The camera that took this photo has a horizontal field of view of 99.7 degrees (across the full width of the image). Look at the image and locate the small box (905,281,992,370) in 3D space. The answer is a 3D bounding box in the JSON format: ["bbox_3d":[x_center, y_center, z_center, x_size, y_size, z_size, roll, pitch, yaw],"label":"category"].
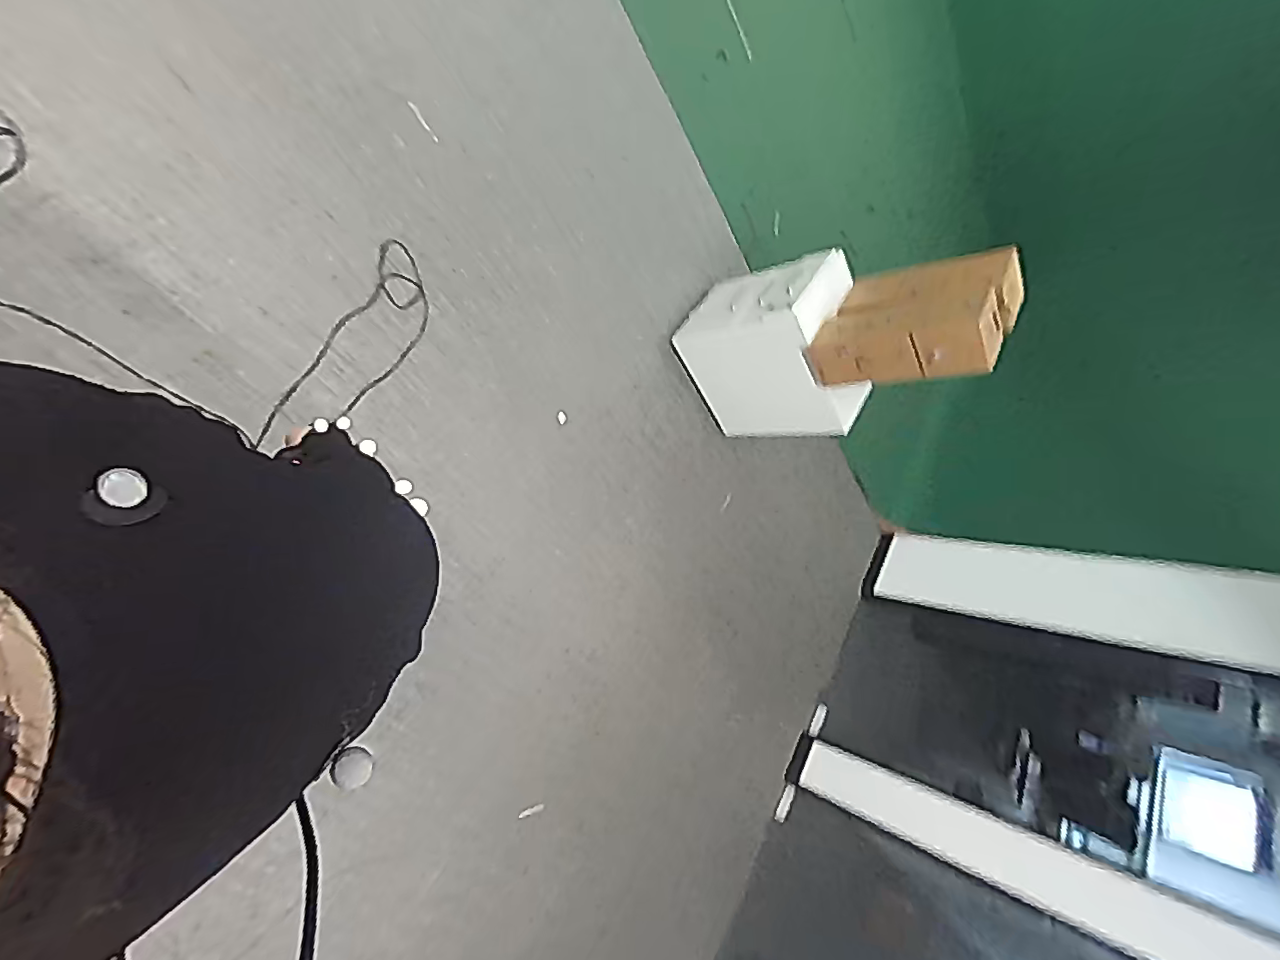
[{"bbox_3d":[0.876,-0.433,1.535,0.168,0.176,0.179,53,59,-32],"label":"small box"}]

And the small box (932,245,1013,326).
[{"bbox_3d":[1.024,-0.588,1.667,0.168,0.176,0.179,49,63,-35],"label":"small box"}]

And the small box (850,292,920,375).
[{"bbox_3d":[0.767,-0.442,1.658,0.168,0.176,0.179,-55,126,-26],"label":"small box"}]

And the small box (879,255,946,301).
[{"bbox_3d":[0.910,-0.604,1.783,0.168,0.176,0.179,49,62,-36],"label":"small box"}]
